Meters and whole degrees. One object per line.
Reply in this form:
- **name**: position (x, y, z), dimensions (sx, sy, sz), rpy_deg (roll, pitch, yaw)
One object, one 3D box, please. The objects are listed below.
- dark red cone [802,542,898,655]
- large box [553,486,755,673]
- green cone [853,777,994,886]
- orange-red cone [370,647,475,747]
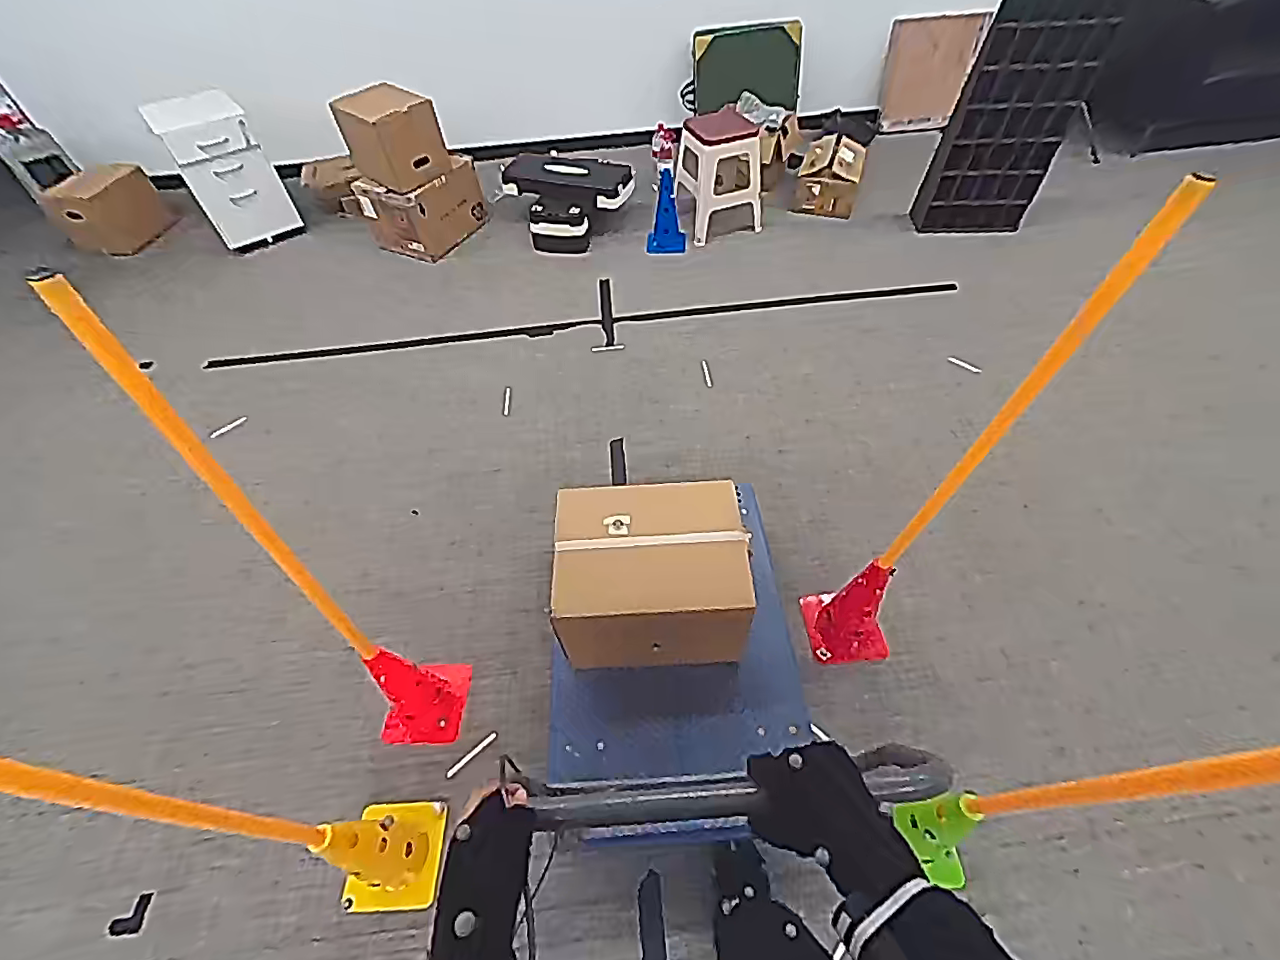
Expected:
- **dark red cone**: position (0.558, 0.277, 1.353), dimensions (0.201, 0.394, 0.202), rpy_deg (-5, 52, -3)
- **large box**: position (0.029, 0.240, 1.260), dimensions (0.408, 0.320, 0.320), rpy_deg (-4, 52, 1)
- **green cone**: position (0.586, 0.666, 1.063), dimensions (0.202, 0.368, 0.200), rpy_deg (-3, 51, 0)
- **orange-red cone**: position (-0.555, 0.483, 1.293), dimensions (0.198, 0.360, 0.199), rpy_deg (0, 50, 3)
